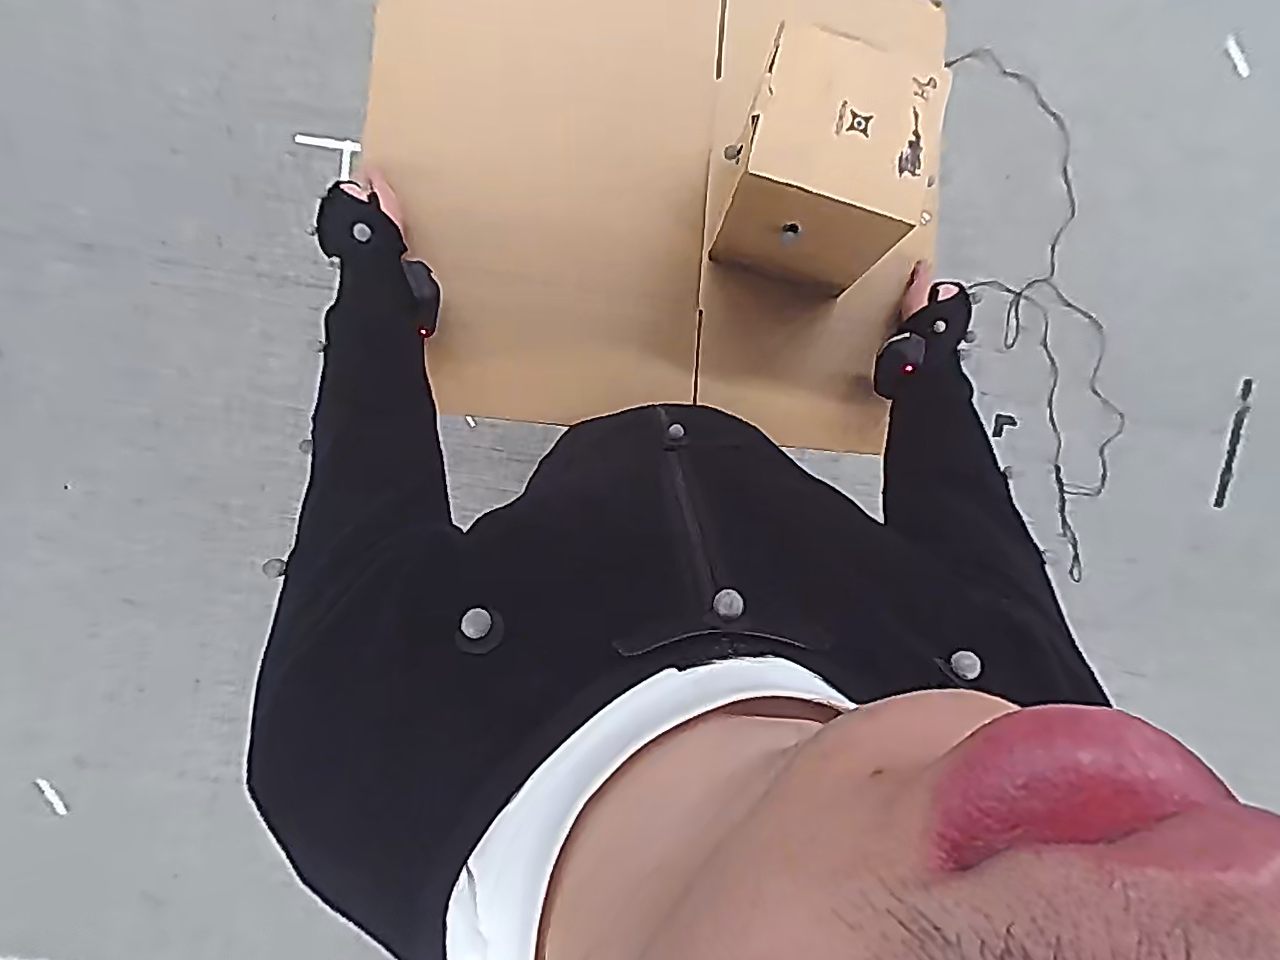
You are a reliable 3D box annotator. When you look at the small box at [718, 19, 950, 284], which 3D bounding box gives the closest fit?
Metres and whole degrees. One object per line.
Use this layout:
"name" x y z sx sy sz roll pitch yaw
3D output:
"small box" 0.197 -0.343 0.601 0.179 0.176 0.168 15 86 -2
